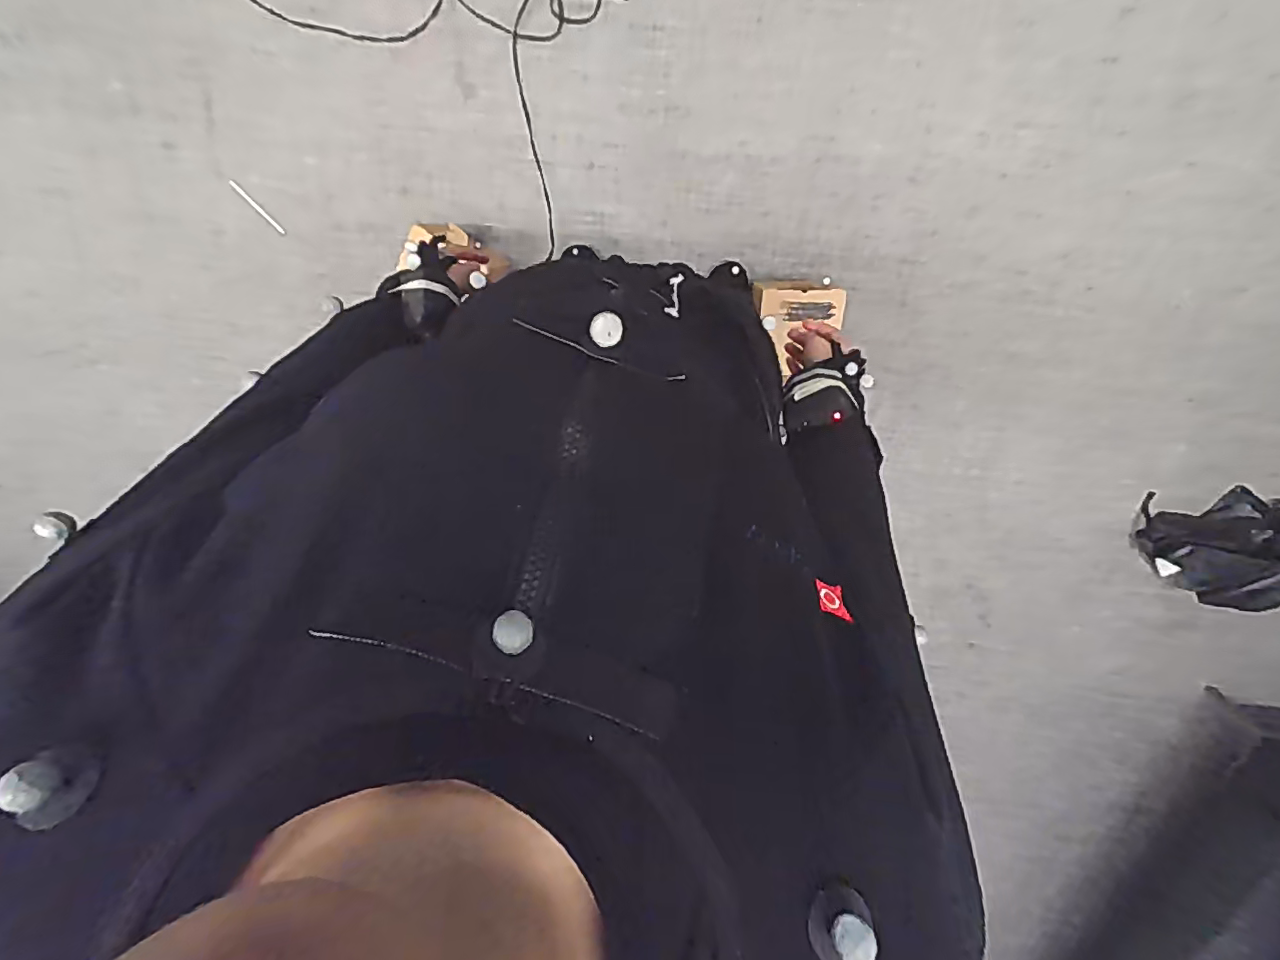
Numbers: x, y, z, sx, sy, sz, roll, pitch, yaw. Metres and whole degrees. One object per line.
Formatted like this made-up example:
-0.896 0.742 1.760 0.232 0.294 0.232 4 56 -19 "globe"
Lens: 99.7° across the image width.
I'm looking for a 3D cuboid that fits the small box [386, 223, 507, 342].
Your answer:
-0.409 -0.429 1.172 0.168 0.176 0.179 29 113 -9 "small box"
